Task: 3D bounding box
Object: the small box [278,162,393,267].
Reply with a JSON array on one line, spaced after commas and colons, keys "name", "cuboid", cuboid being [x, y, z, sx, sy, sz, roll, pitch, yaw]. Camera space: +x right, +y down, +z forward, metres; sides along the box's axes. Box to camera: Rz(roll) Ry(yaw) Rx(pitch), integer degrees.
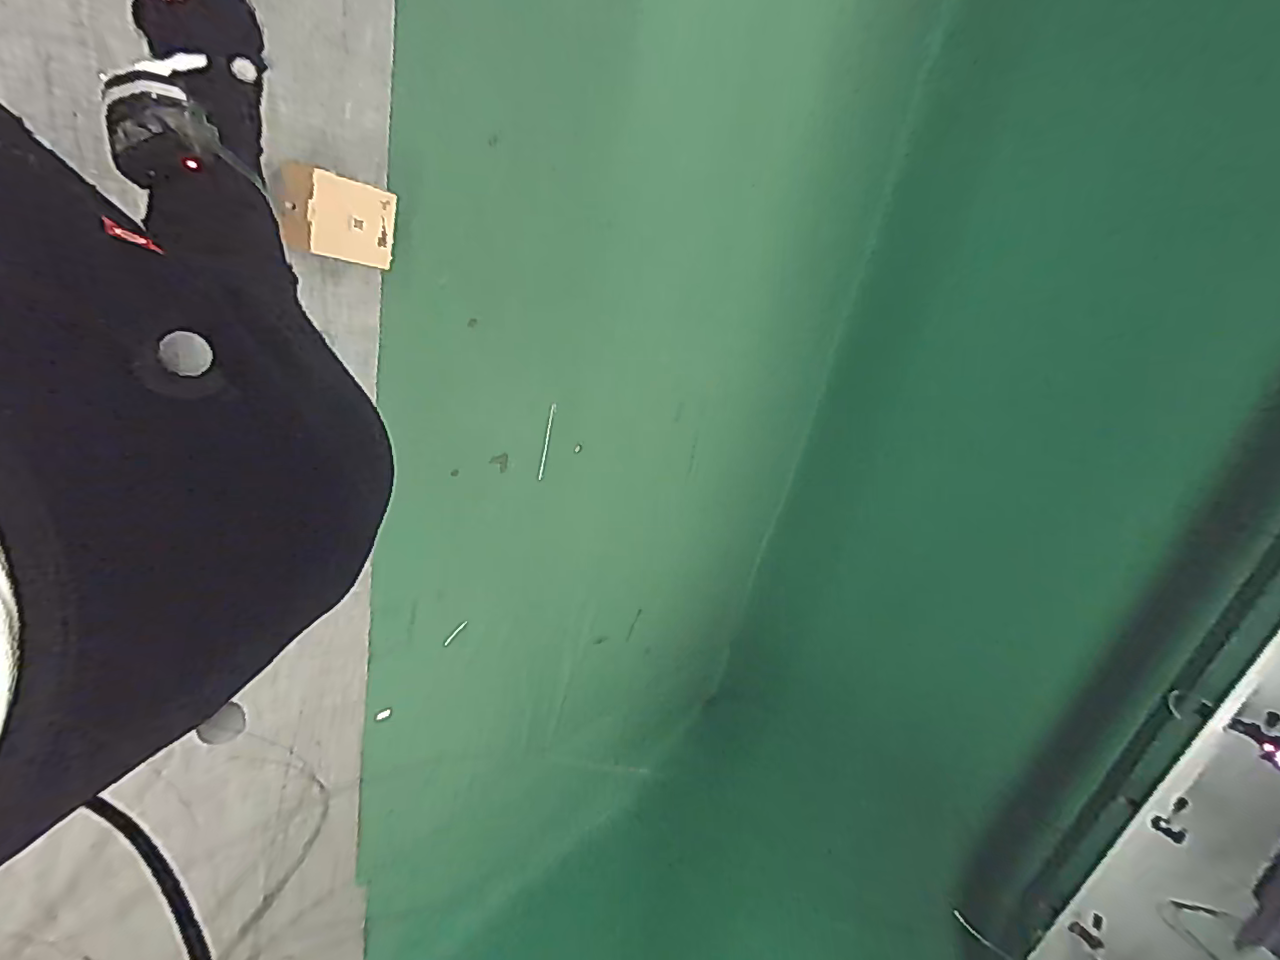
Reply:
[{"name": "small box", "cuboid": [-0.686, -0.593, 1.212, 0.179, 0.176, 0.168, -7, 118, -50]}]
